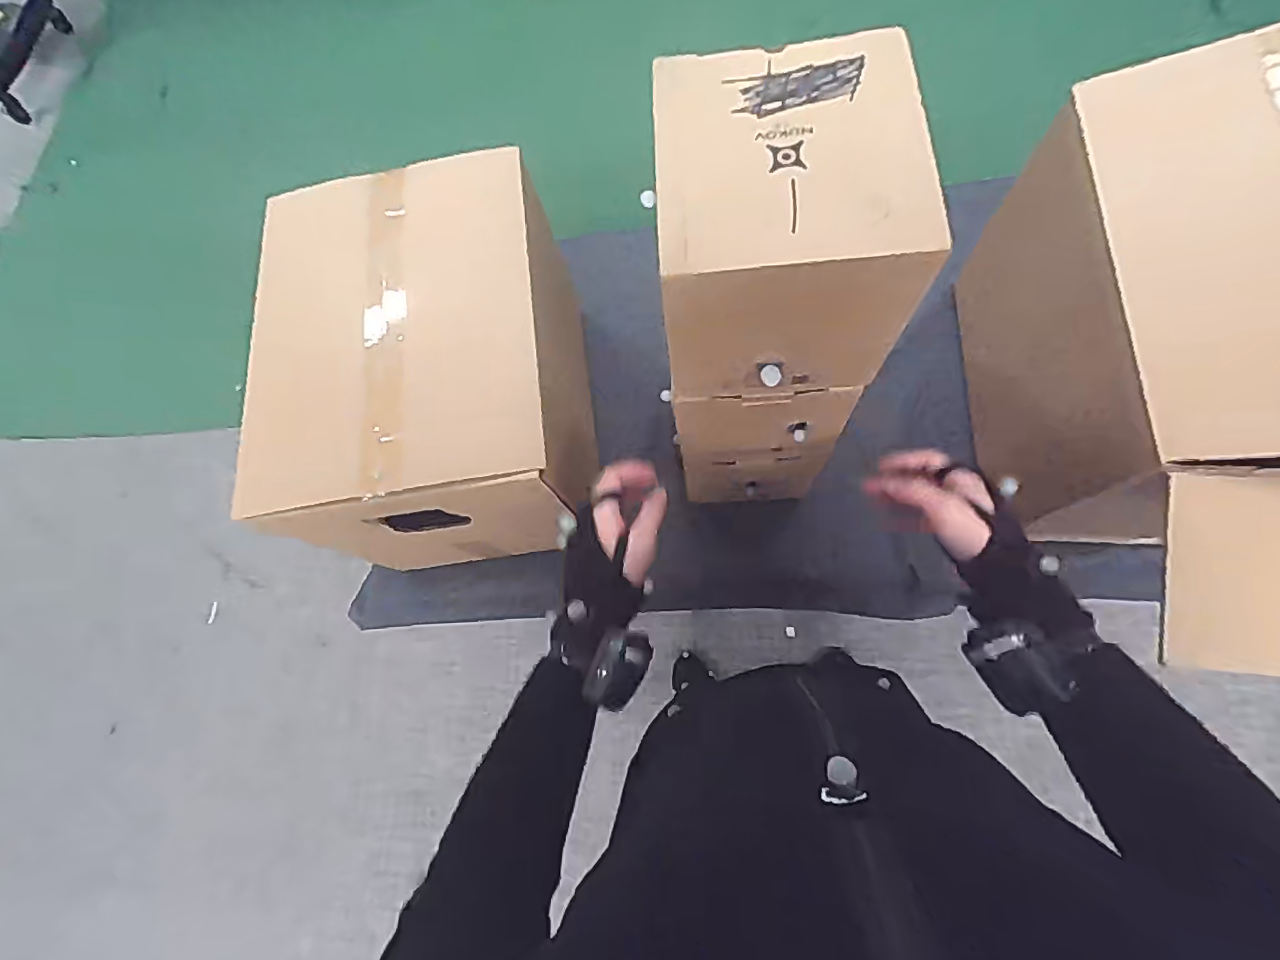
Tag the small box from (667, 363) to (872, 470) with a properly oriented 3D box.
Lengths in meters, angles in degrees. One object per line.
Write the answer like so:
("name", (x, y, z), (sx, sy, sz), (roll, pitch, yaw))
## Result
("small box", (0.114, -0.114, 0.537), (0.168, 0.176, 0.179), (-4, 72, 6))
